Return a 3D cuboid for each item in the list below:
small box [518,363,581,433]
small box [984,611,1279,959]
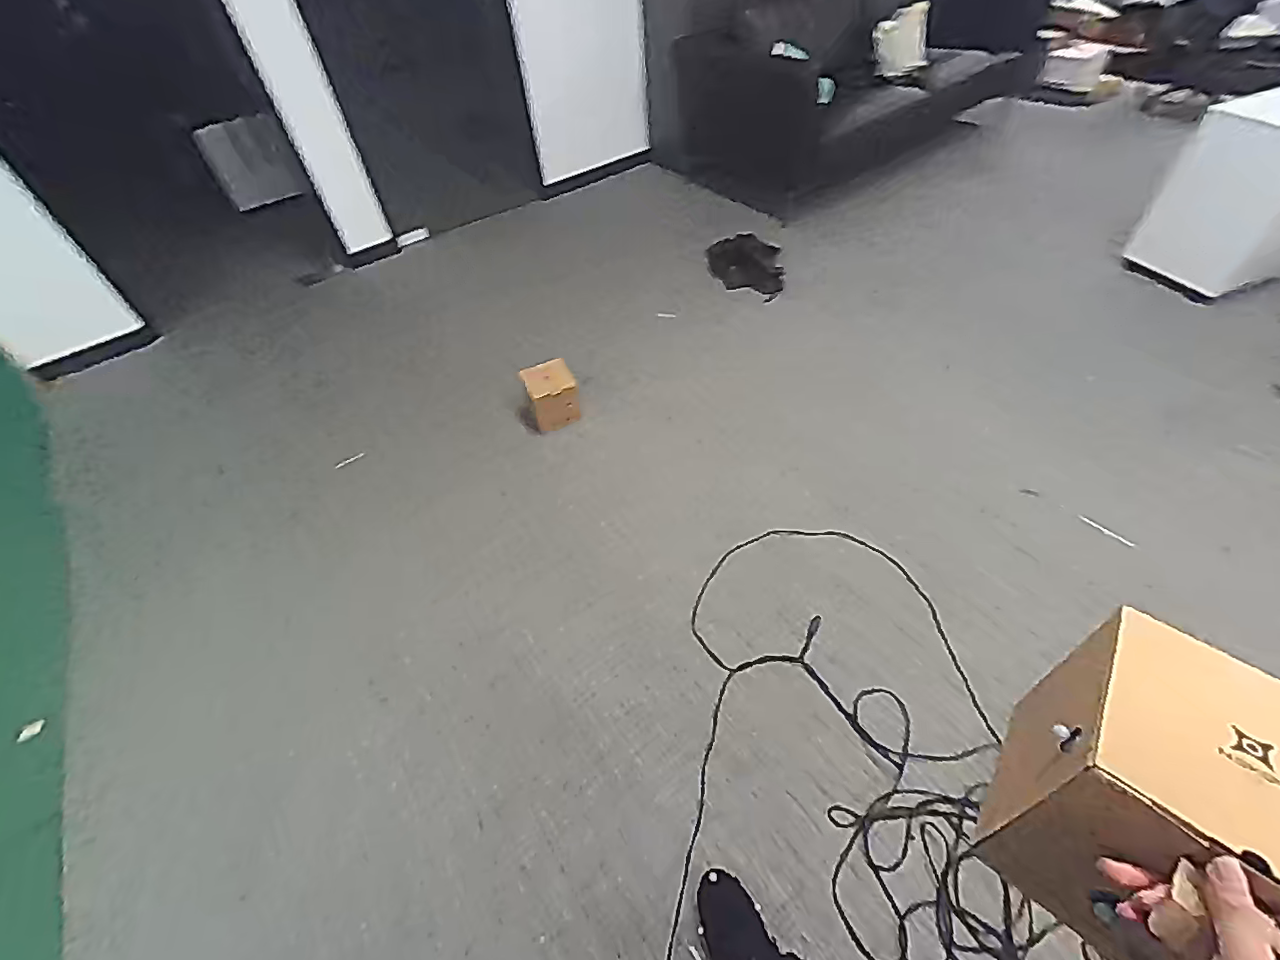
[{"bbox_3d":[-0.328,-0.294,1.974,0.168,0.176,0.179,-22,50,-16],"label":"small box"},{"bbox_3d":[0.395,0.241,0.402,0.168,0.176,0.179,33,48,27],"label":"small box"}]
